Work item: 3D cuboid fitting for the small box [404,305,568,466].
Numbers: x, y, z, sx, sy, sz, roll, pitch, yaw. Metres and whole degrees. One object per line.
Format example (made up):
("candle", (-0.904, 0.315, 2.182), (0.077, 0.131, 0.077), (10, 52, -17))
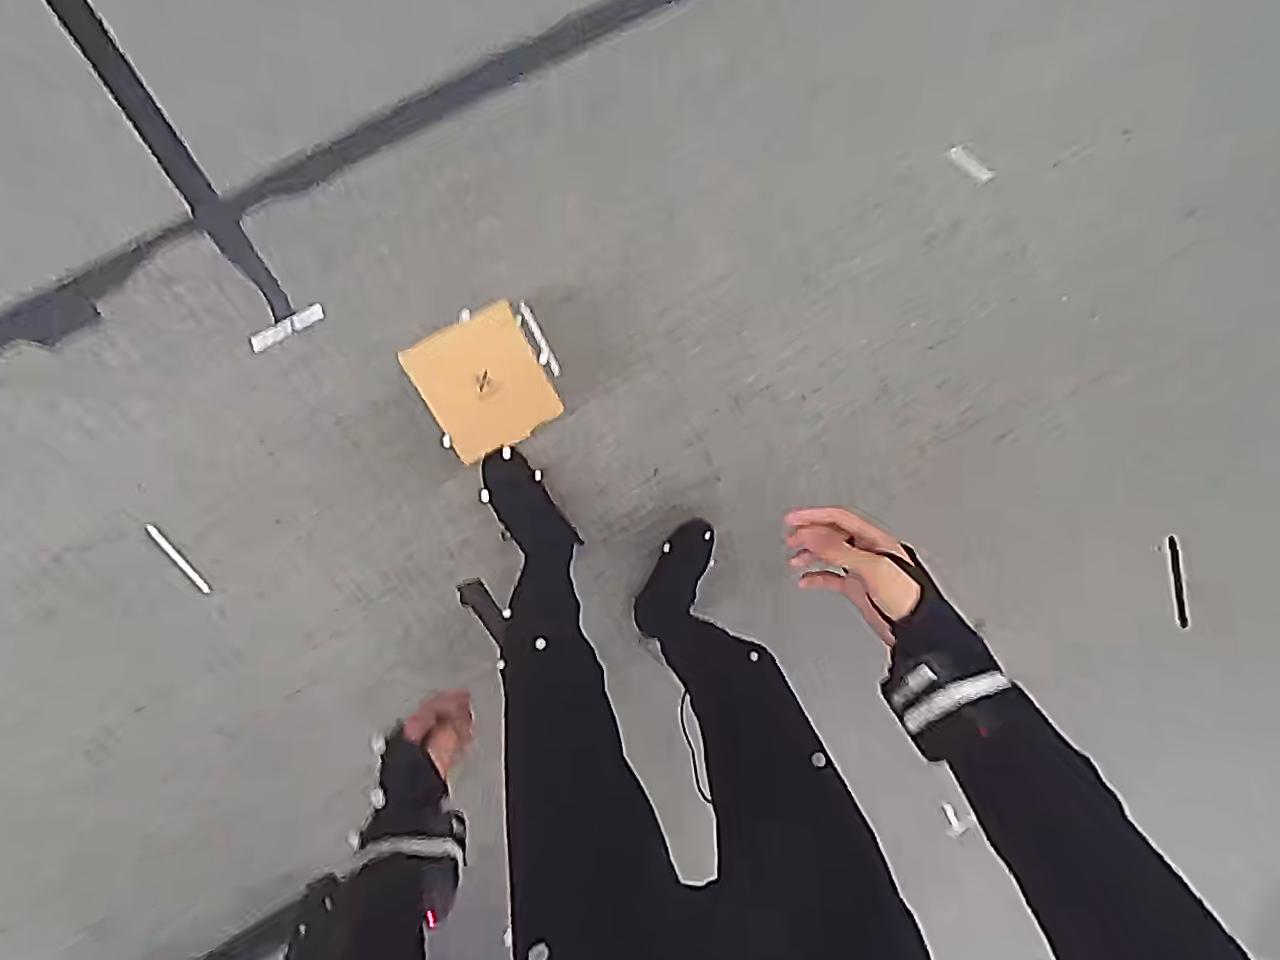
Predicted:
("small box", (-0.232, -0.149, 0.832), (0.168, 0.176, 0.179), (-30, 110, -5))
